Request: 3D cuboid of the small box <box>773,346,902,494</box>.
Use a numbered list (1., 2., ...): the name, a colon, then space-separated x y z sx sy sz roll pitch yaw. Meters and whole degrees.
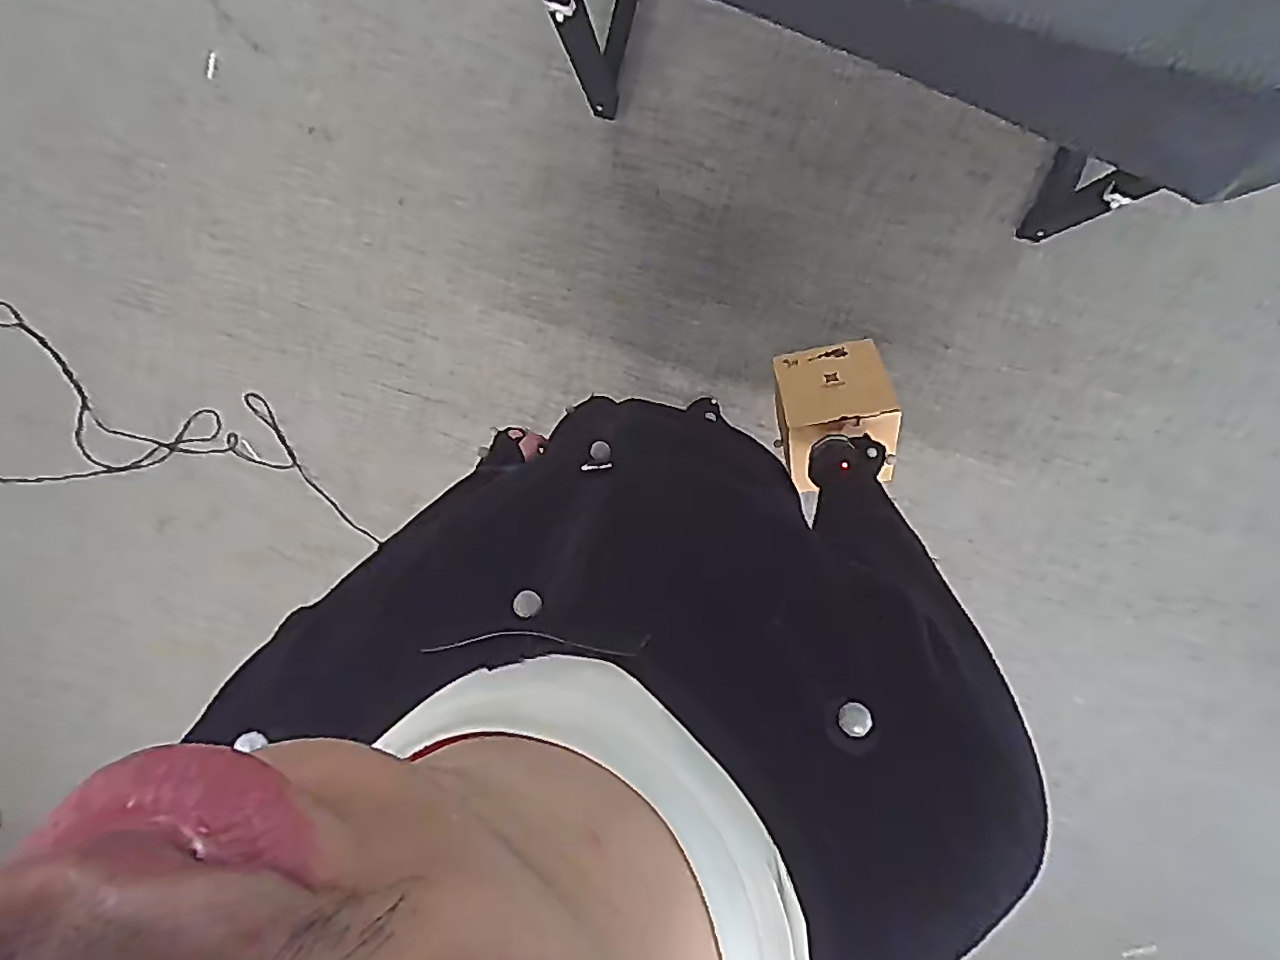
1. small box: 0.332 -0.093 0.922 0.168 0.179 0.176 -12 139 12
